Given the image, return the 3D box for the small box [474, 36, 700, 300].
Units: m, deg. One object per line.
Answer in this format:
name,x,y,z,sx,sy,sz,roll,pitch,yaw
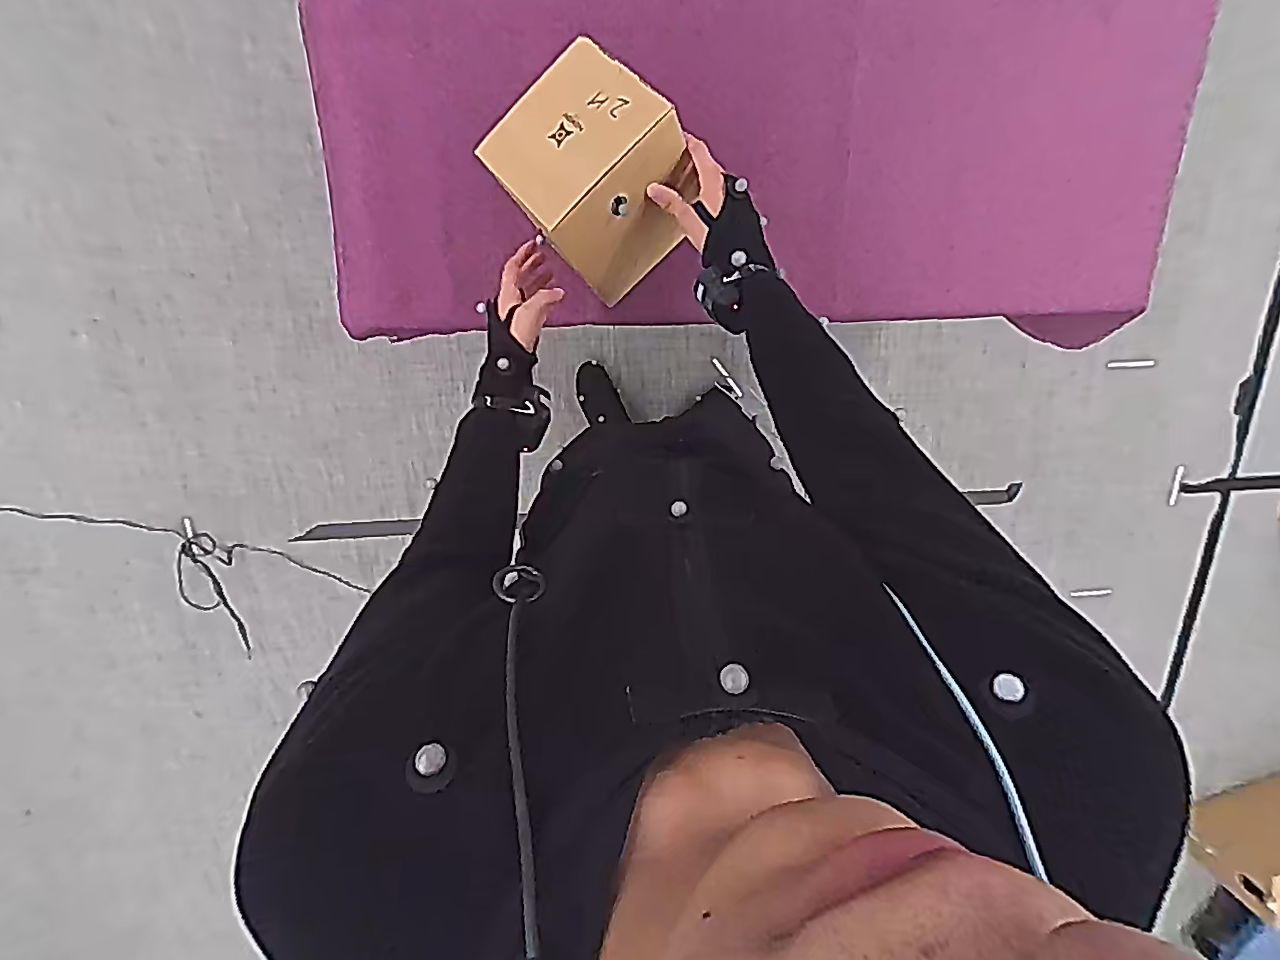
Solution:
small box,-0.053,-0.352,0.643,0.179,0.176,0.168,-41,69,7
